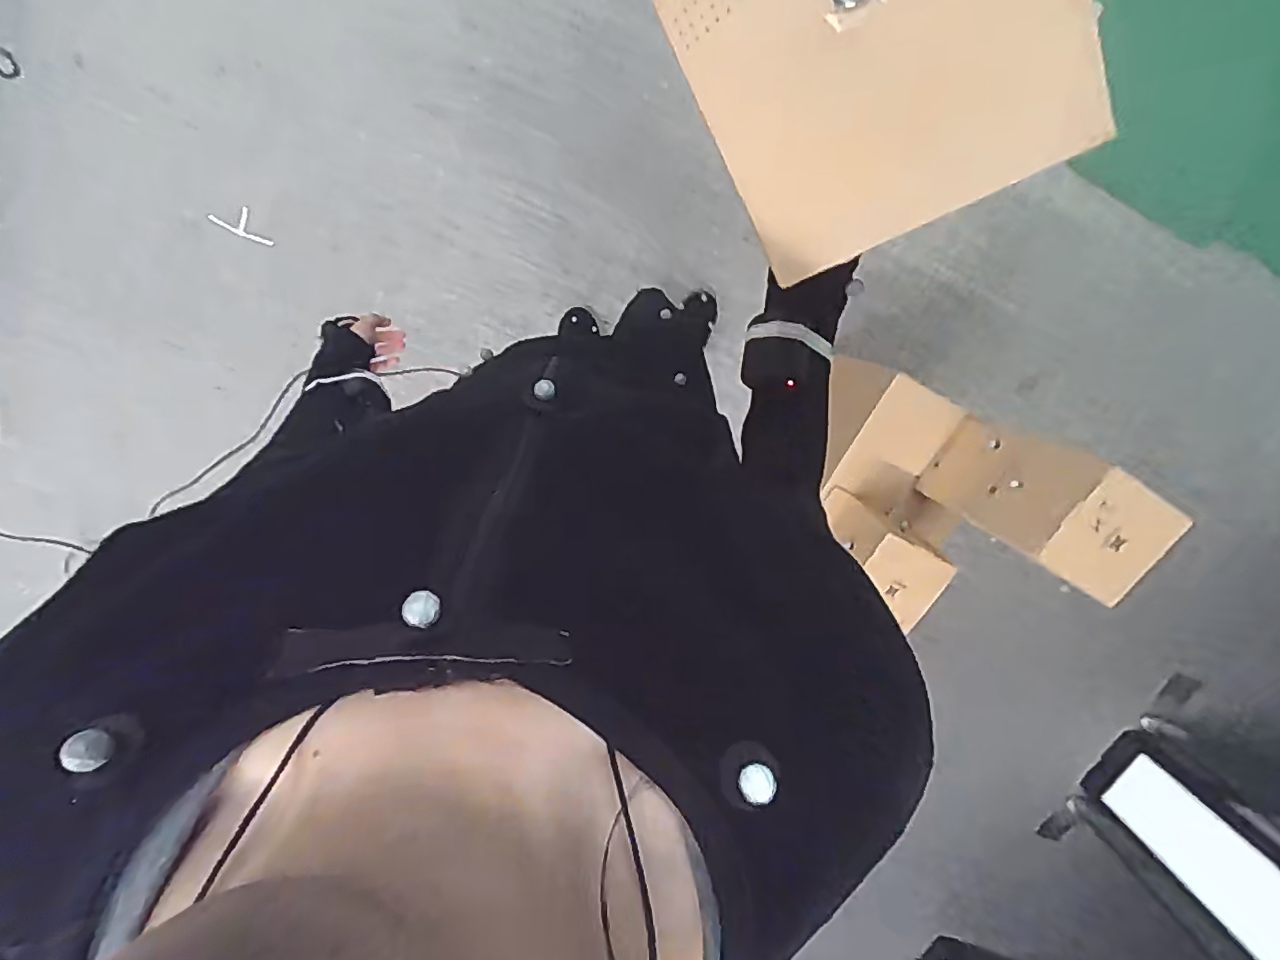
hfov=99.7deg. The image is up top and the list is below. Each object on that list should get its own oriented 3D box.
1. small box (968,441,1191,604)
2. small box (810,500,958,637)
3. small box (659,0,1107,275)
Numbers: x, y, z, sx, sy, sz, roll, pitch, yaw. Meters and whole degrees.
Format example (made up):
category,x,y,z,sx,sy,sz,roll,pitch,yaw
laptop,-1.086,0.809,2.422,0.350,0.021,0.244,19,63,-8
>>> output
category,x,y,z,sx,sy,sz,roll,pitch,yaw
small box,0.682,0.058,0.860,0.179,0.176,0.168,30,104,-12
small box,0.461,0.164,1.058,0.168,0.176,0.179,28,105,-9
small box,0.140,-0.258,0.317,0.168,0.179,0.176,-15,118,39
